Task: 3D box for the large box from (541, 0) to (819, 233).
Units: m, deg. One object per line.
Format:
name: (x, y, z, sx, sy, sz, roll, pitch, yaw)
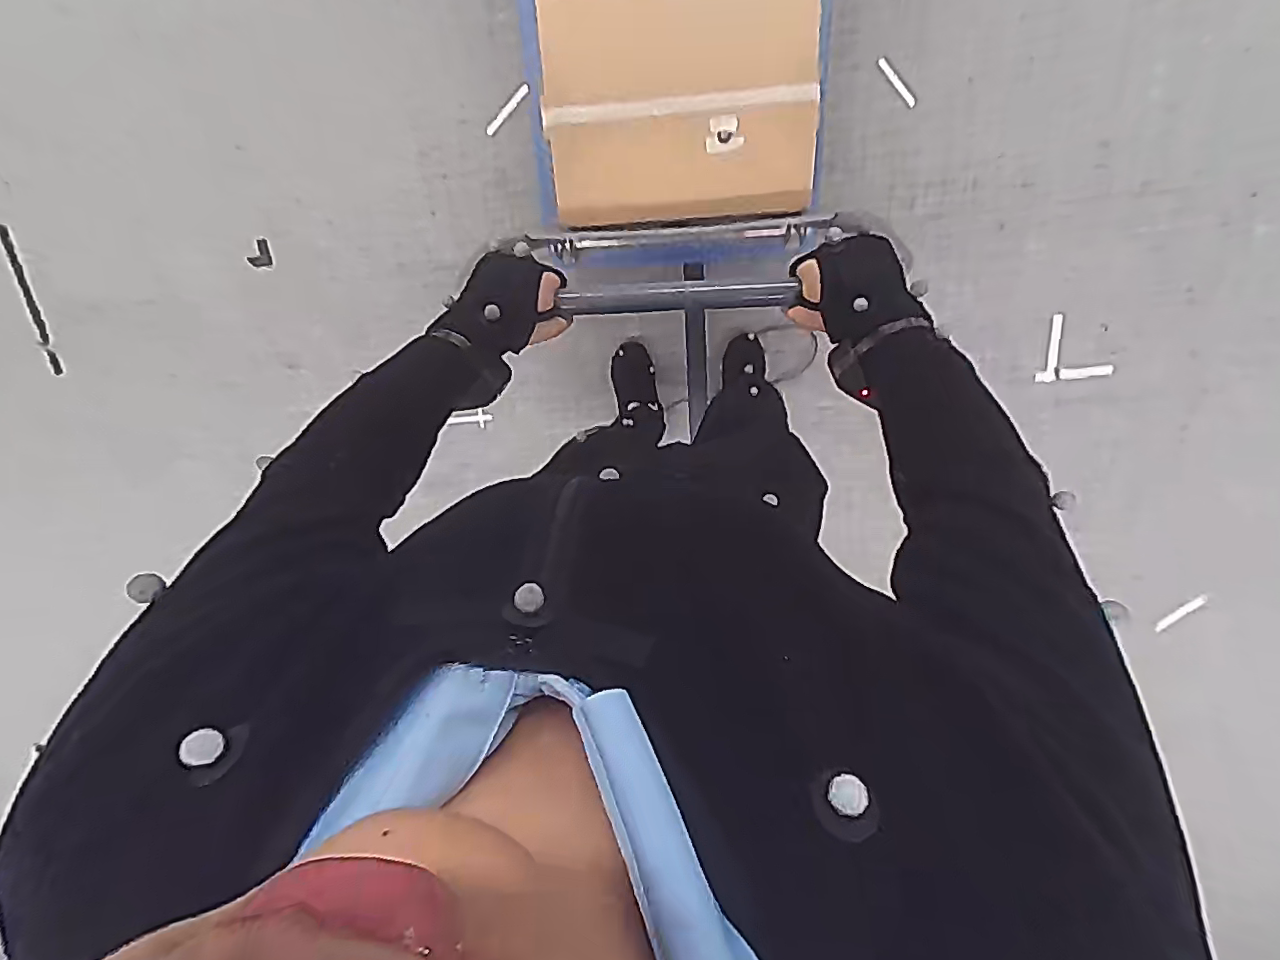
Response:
large box: (0.072, -0.627, 0.958, 0.408, 0.320, 0.320, -2, 114, 5)
